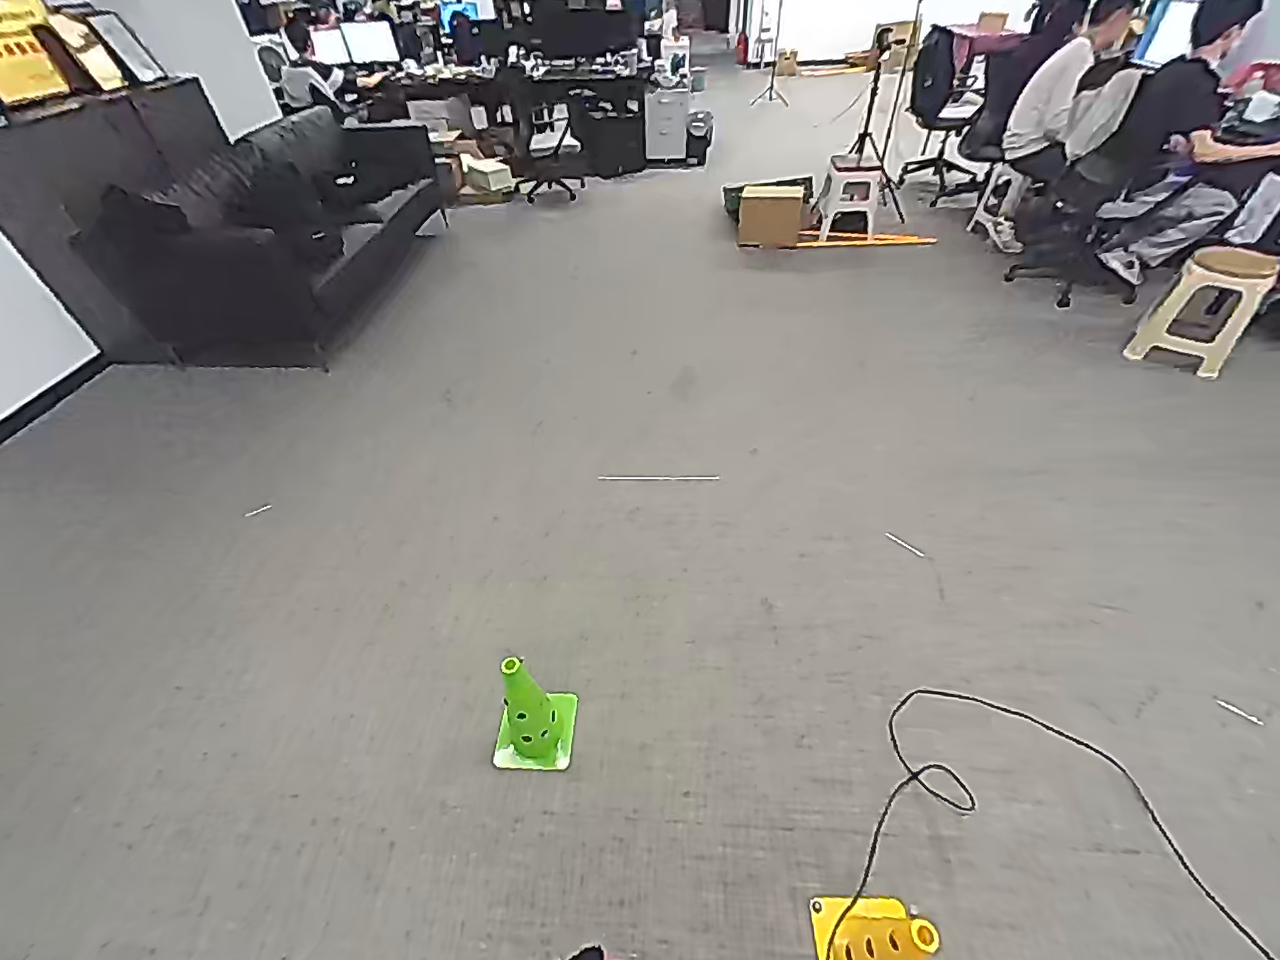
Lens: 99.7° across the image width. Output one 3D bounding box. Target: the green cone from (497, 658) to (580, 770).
[{"bbox_3d":[-0.274,0.549,1.336,0.202,0.368,0.200,0,44,3],"label":"green cone"}]
